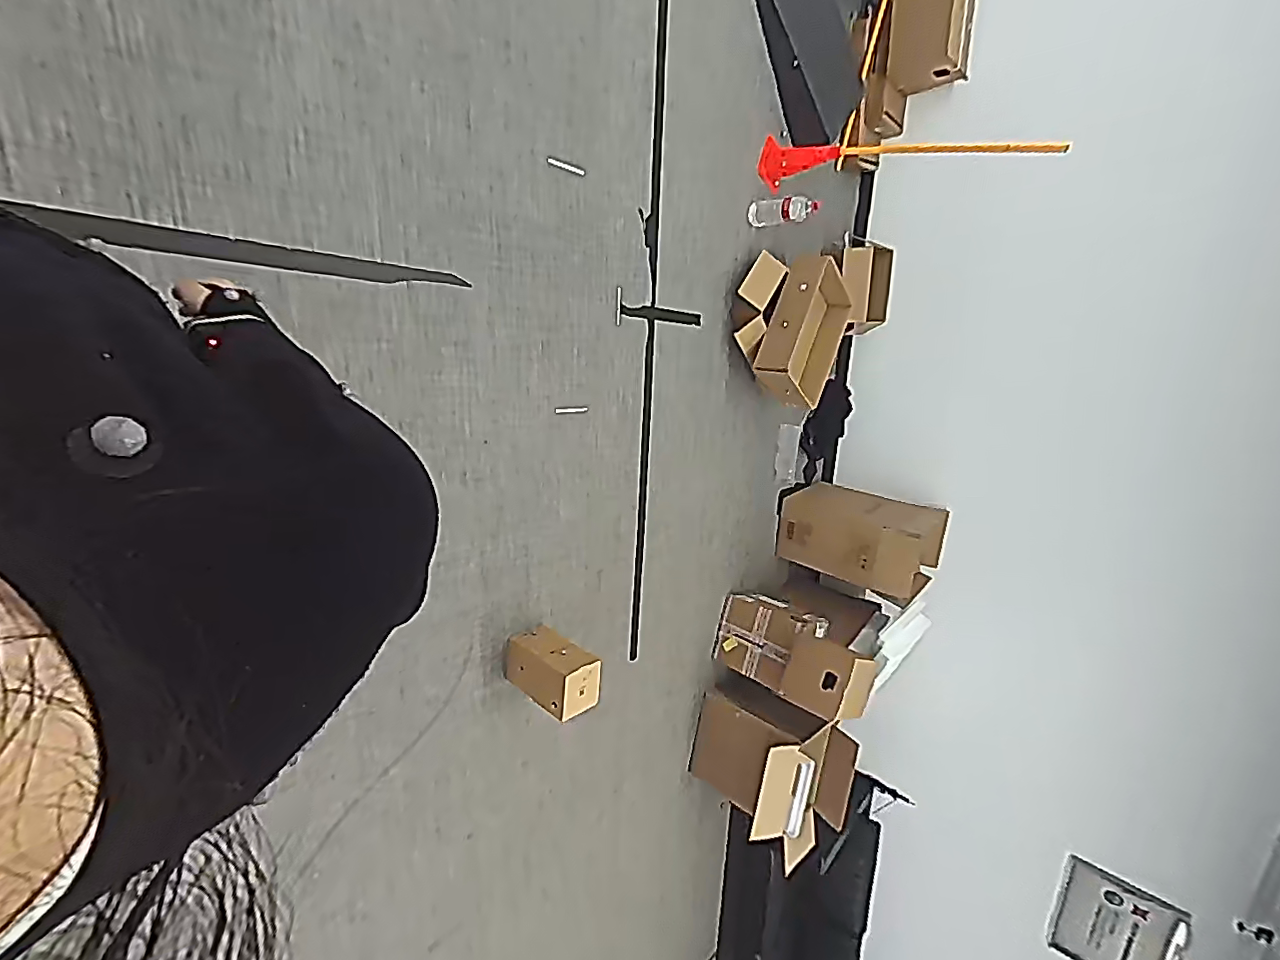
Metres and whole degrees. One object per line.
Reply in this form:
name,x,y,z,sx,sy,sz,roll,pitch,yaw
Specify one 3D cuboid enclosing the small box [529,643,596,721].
small box,-0.276,0.702,1.900,0.168,0.176,0.179,-7,106,-49
